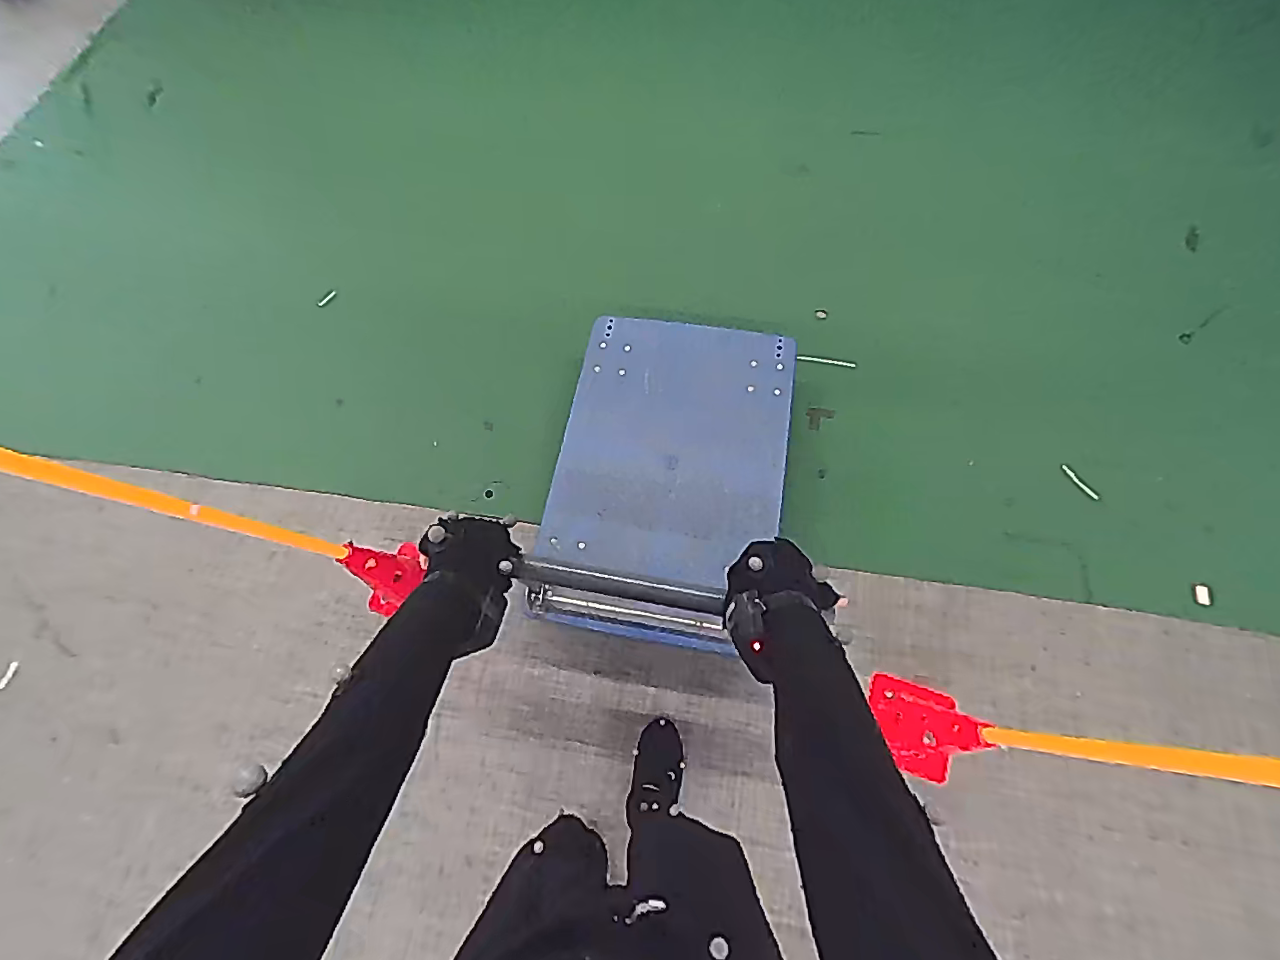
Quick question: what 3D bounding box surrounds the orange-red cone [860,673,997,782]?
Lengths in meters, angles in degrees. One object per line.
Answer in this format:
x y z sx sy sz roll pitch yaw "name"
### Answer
0.625 0.516 1.118 0.198 0.360 0.199 18 70 11 "orange-red cone"
